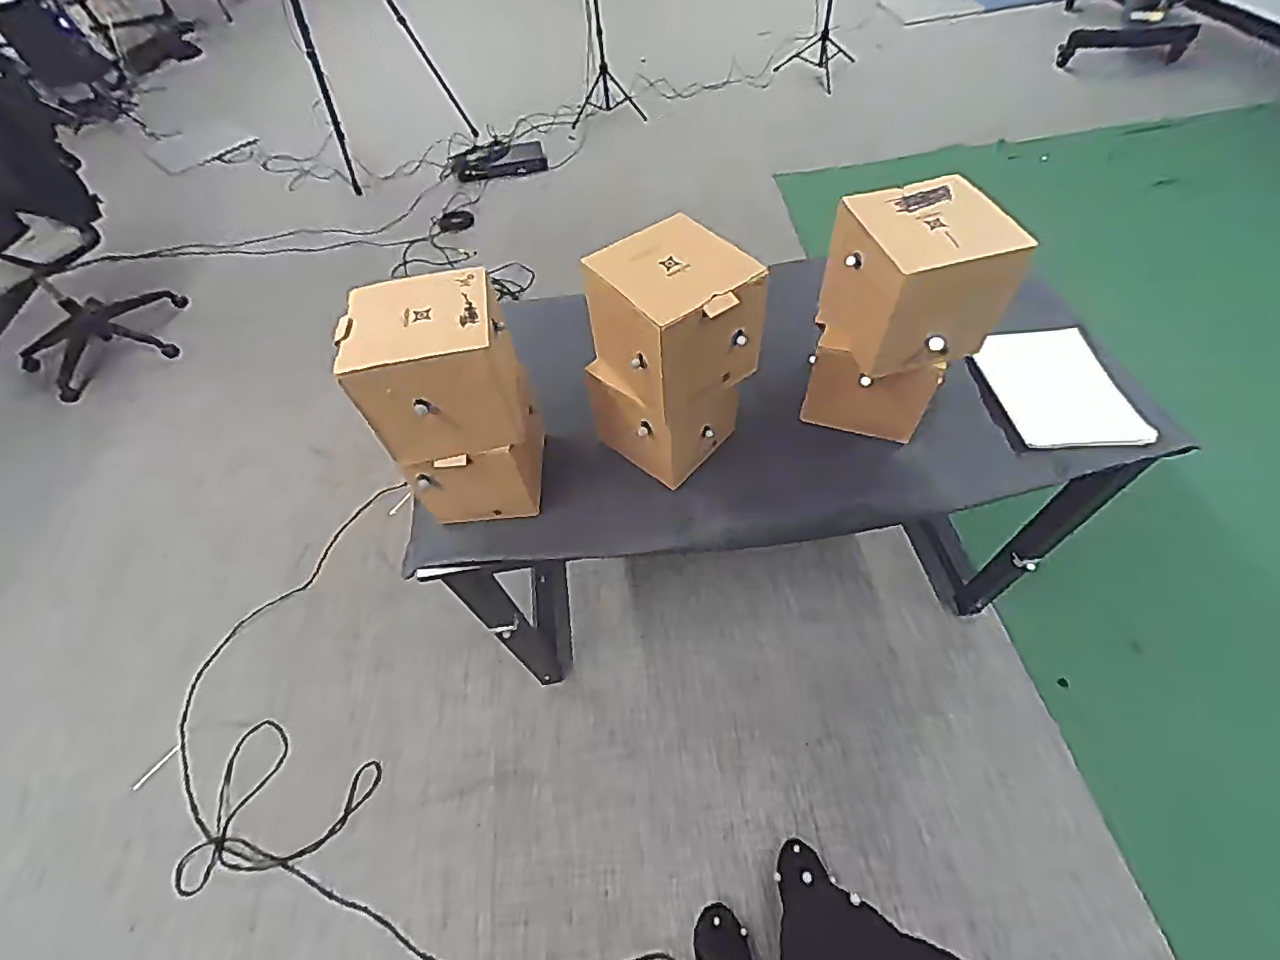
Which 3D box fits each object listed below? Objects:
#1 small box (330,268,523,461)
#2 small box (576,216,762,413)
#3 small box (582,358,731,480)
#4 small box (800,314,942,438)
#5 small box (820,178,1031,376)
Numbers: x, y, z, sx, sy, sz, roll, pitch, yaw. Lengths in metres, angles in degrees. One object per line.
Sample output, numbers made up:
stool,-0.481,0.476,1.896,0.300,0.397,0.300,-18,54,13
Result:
small box,-0.264,-0.145,0.707,0.179,0.176,0.168,-12,54,-2
small box,0.039,-0.213,0.726,0.168,0.176,0.179,-32,58,-17
small box,0.035,-0.125,0.864,0.179,0.176,0.168,35,65,26
small box,0.372,-0.190,0.874,0.179,0.176,0.168,15,58,17
small box,0.362,-0.271,0.731,0.168,0.176,0.179,-14,55,-2
